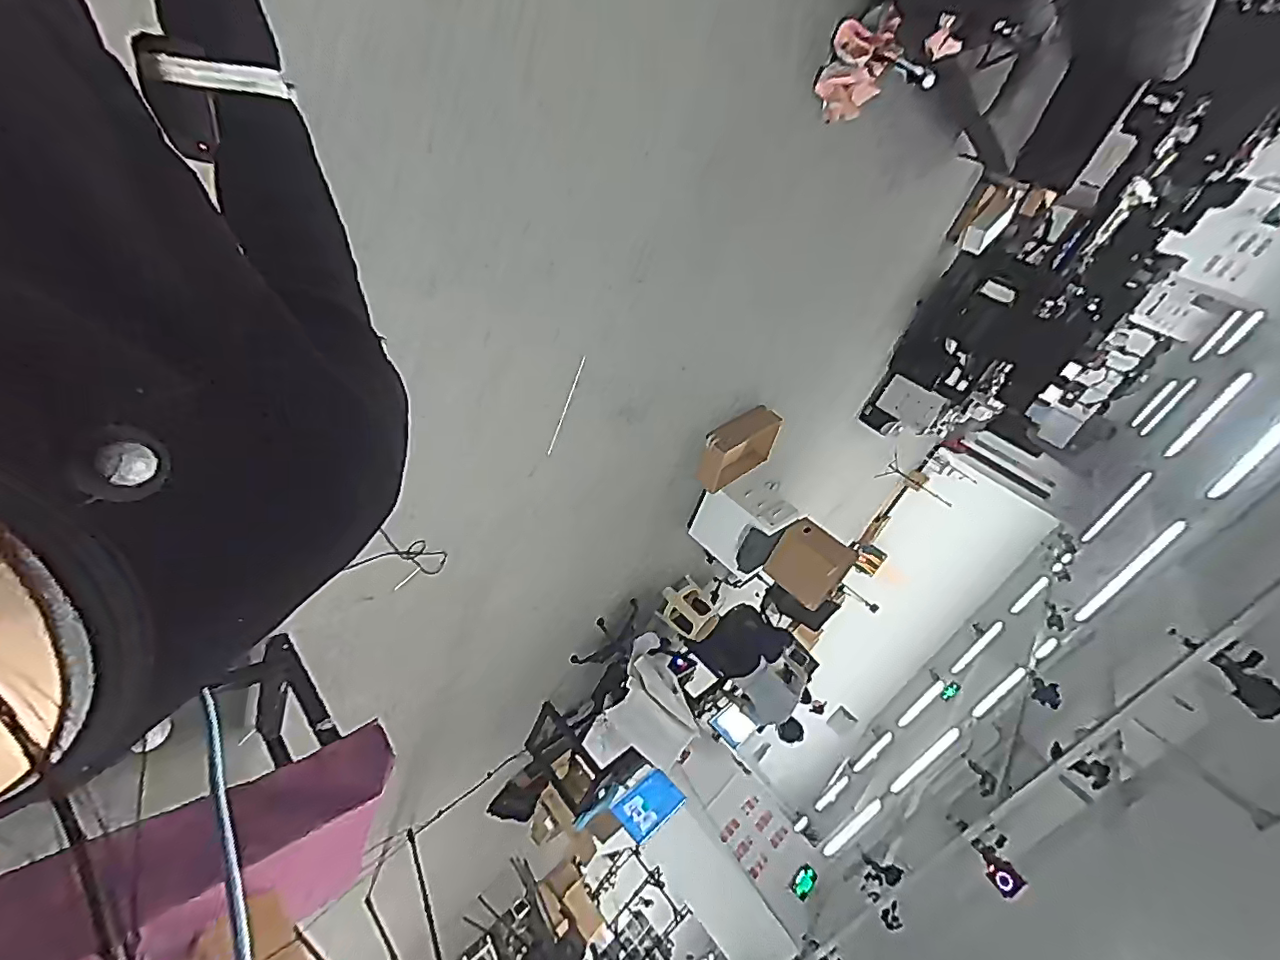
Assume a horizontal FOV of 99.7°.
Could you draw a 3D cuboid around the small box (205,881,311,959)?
[{"bbox_3d":[-1.049,1.262,1.483,0.179,0.176,0.168,5,121,-56],"label":"small box"}]
